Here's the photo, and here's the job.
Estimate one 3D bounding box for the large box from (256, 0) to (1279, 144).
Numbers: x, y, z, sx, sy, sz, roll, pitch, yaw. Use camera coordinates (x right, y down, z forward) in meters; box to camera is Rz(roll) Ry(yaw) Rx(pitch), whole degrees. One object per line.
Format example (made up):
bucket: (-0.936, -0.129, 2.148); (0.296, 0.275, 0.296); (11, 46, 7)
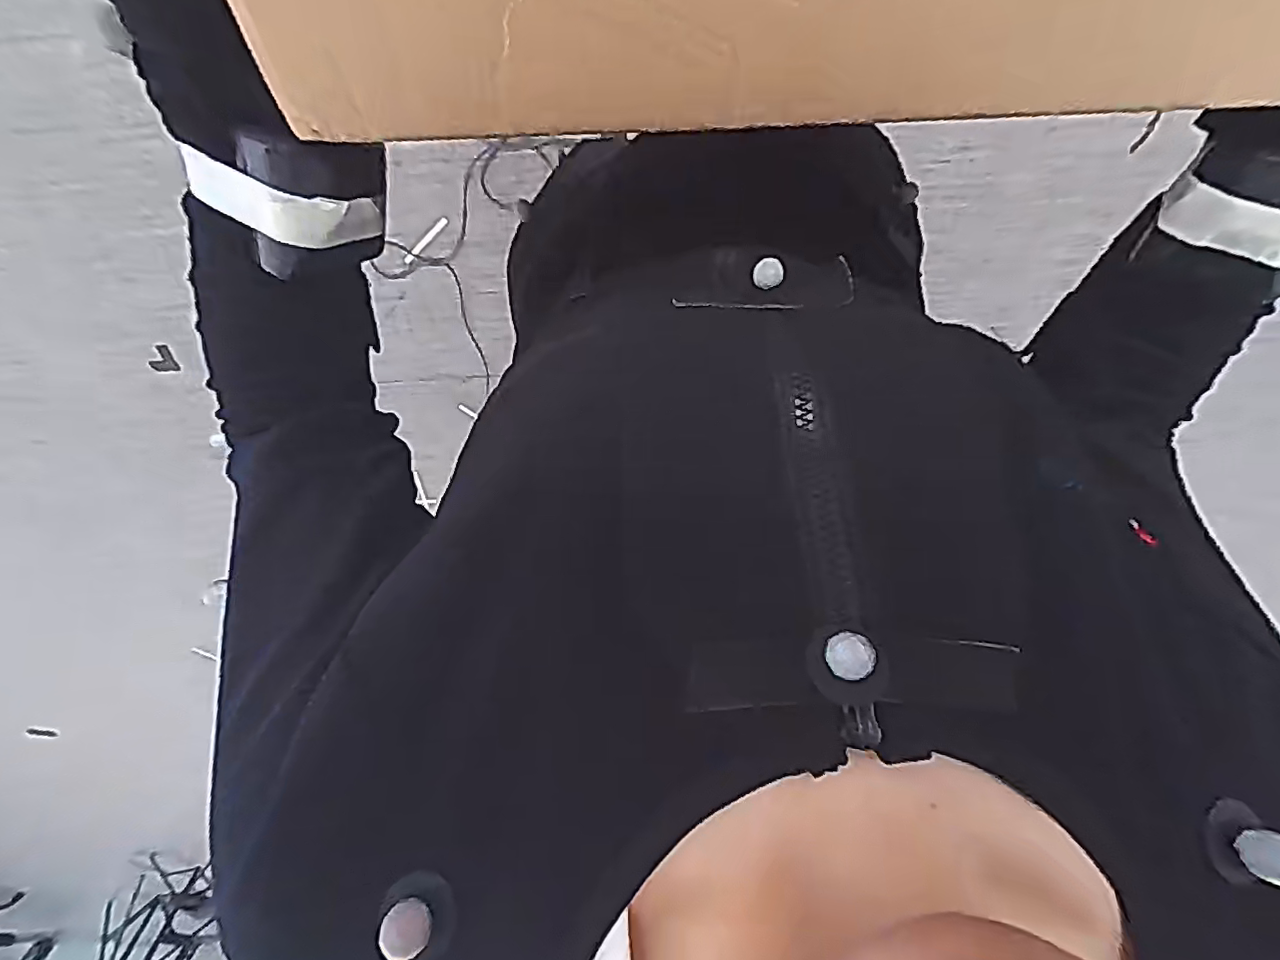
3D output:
large box: (0.062, -0.355, 0.186); (0.408, 0.320, 0.320); (-2, 141, 1)
